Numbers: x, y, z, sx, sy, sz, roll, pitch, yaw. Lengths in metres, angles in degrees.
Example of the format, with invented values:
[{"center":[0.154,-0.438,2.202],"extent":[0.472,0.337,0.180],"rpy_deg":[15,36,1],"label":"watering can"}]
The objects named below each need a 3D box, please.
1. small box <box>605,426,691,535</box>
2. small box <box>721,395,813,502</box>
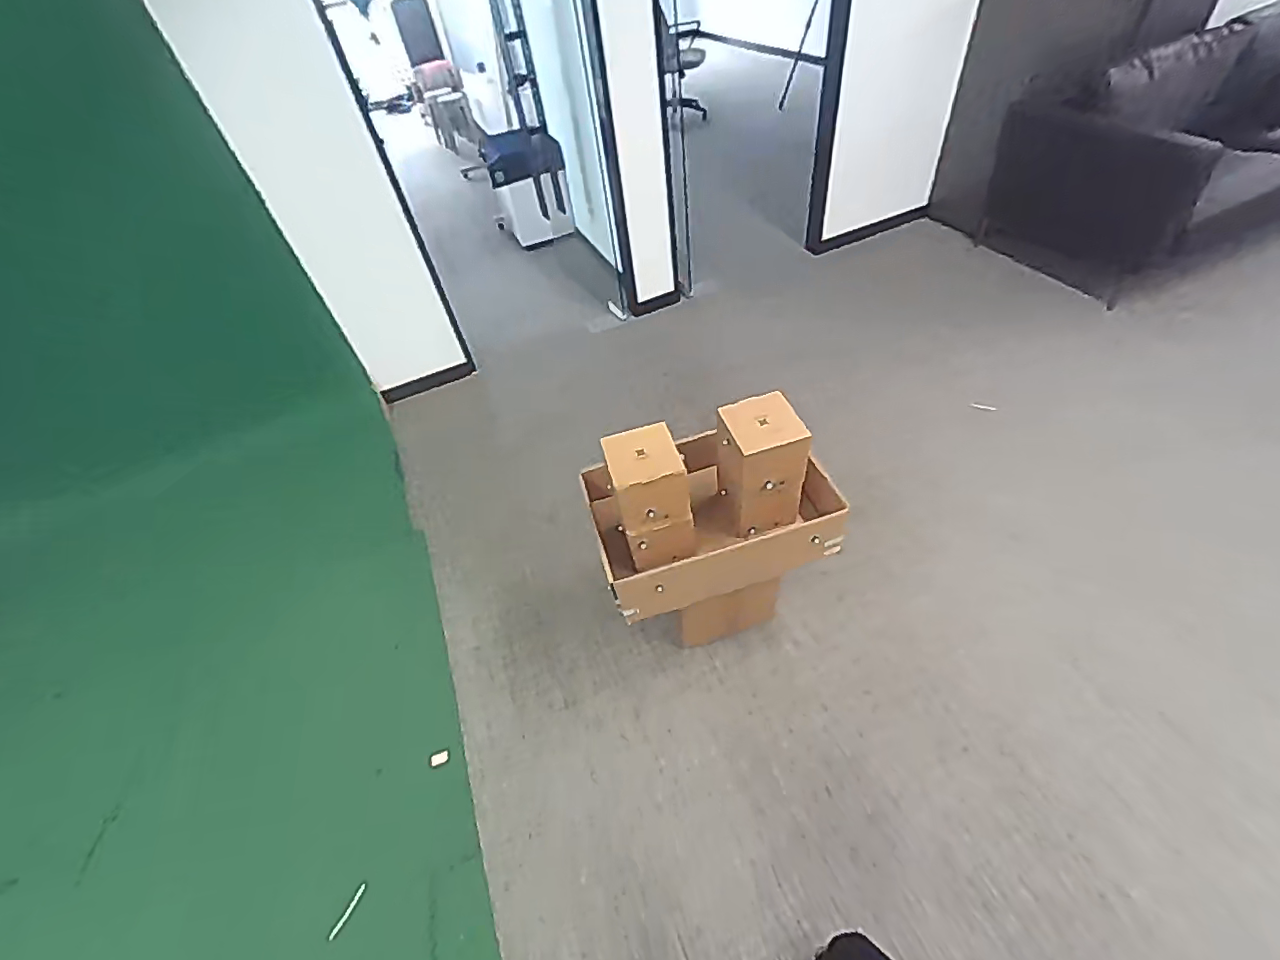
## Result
[{"center":[0.020,0.002,1.306],"extent":[0.168,0.176,0.179],"rpy_deg":[-15,47,-5],"label":"small box"},{"center":[0.303,-0.076,1.329],"extent":[0.168,0.176,0.179],"rpy_deg":[-16,48,-5],"label":"small box"}]
